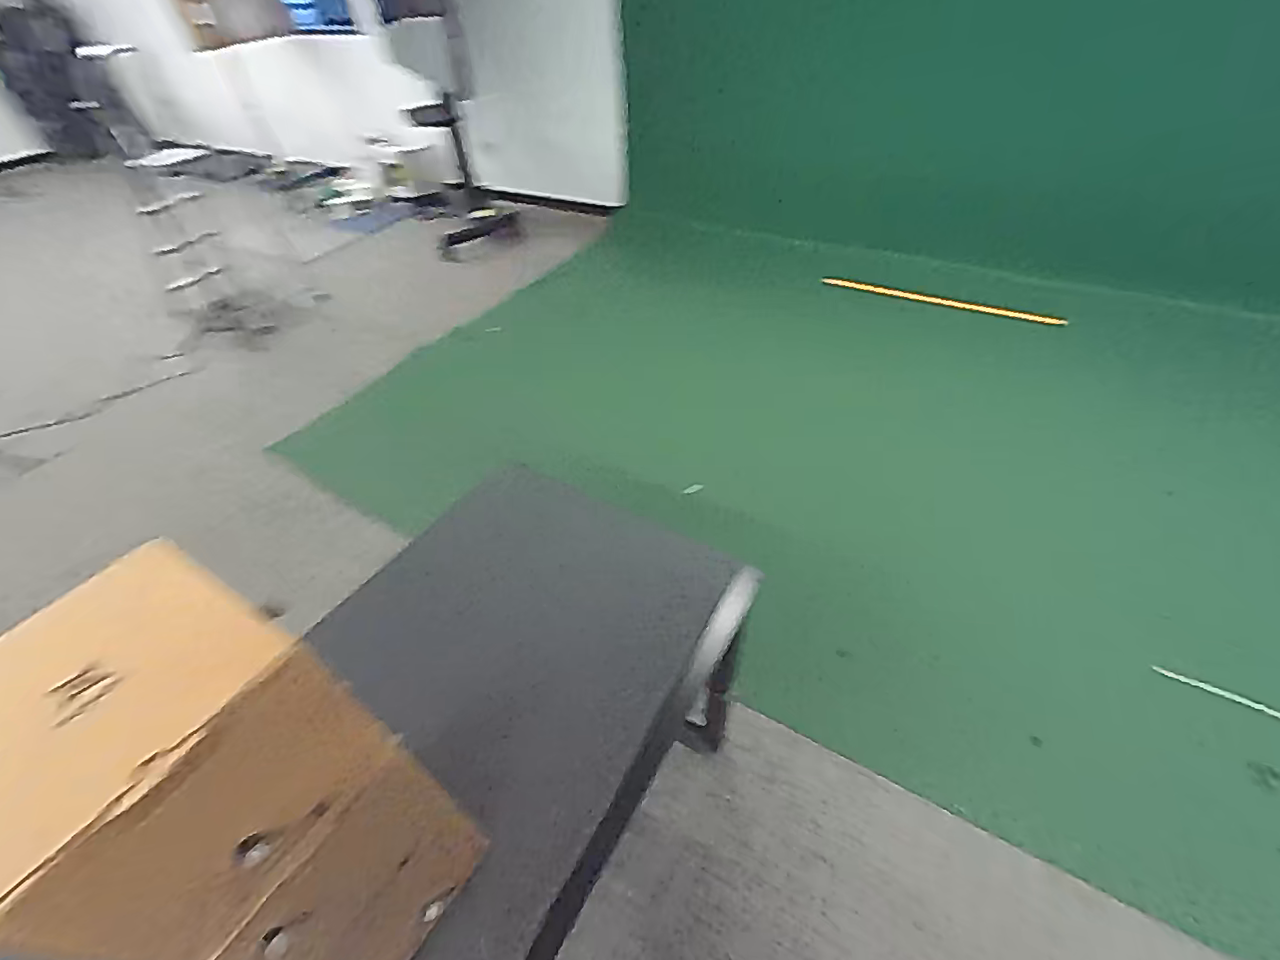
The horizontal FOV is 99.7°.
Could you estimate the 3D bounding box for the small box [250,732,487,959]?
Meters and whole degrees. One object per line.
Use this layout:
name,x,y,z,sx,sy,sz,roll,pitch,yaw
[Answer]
small box,-0.302,0.395,0.597,0.179,0.176,0.168,23,51,26
